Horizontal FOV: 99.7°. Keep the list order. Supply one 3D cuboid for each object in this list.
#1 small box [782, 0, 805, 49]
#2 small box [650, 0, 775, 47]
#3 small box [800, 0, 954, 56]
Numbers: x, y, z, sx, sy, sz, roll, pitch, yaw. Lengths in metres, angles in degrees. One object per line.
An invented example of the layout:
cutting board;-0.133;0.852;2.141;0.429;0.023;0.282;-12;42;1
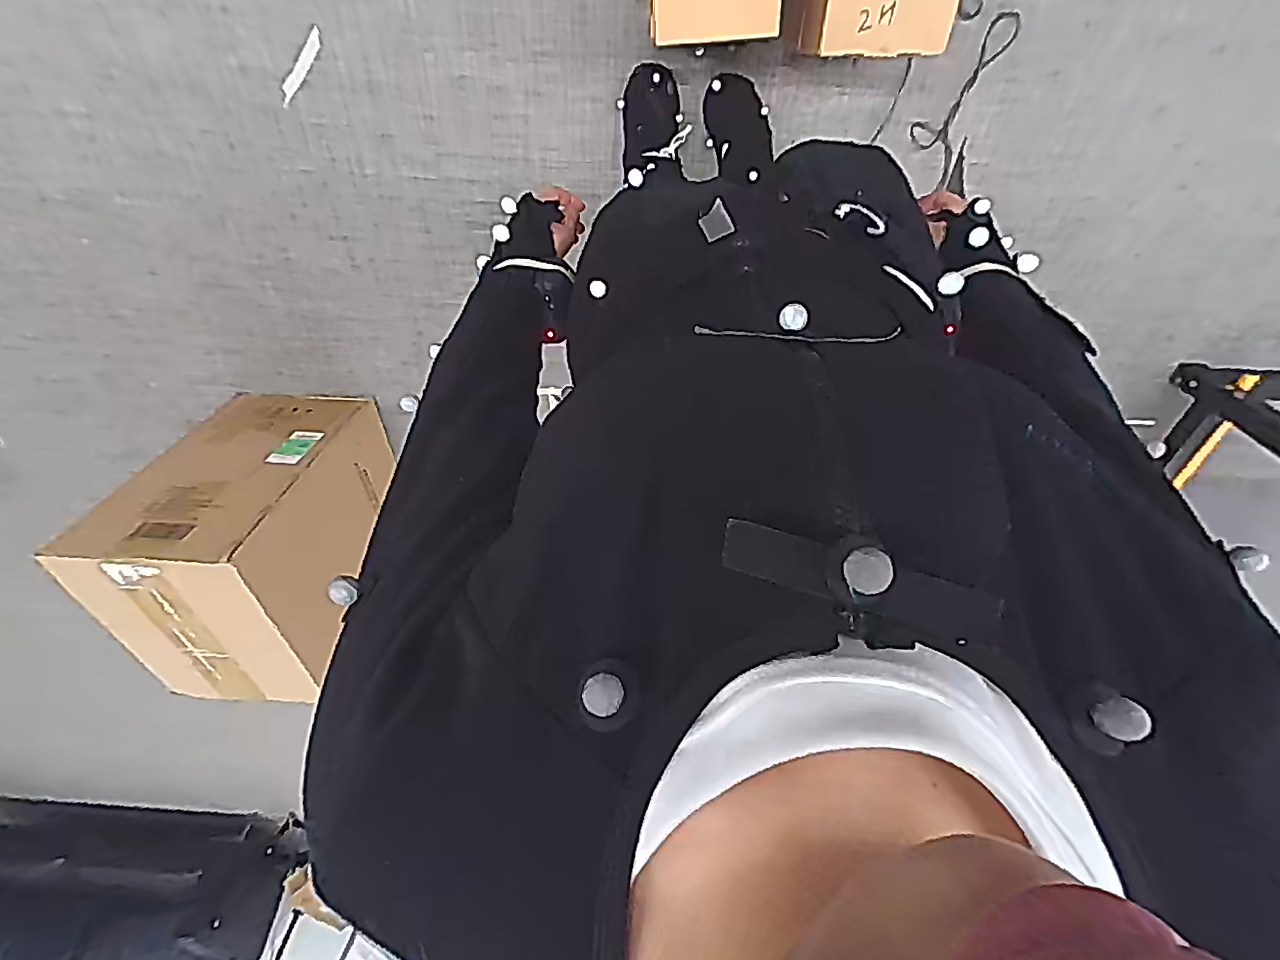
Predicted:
small box;0.330;-0.793;0.856;0.168;0.176;0.179;4;131;2
small box;0.098;-0.707;0.734;0.168;0.176;0.179;0;129;5
small box;0.322;-0.687;0.729;0.168;0.176;0.179;3;130;3
